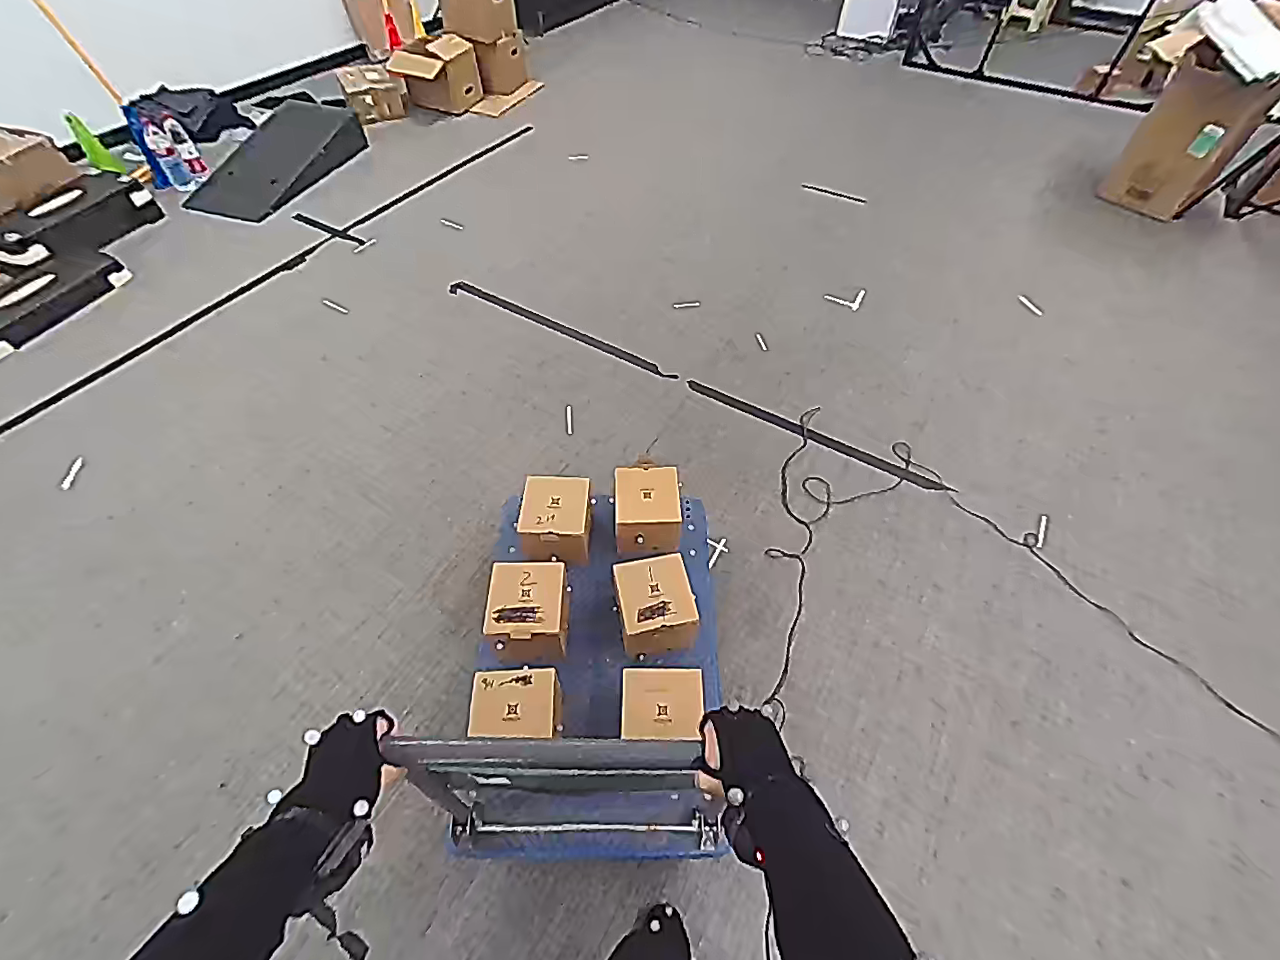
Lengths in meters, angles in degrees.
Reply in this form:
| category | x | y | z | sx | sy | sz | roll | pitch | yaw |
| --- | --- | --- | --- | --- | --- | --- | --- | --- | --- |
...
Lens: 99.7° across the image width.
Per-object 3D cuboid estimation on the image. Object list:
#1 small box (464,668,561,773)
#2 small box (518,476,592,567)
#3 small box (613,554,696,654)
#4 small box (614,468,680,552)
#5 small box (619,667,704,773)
| category | x | y | z | sx | sy | sz | roll | pitch | yaw |
| --- | --- | --- | --- | --- | --- | --- | --- | --- | --- |
| small box | -0.255 | 0.508 | 1.132 | 0.168 | 0.176 | 0.179 | -1 | 54 | -4 |
| small box | -0.217 | 0.110 | 1.431 | 0.168 | 0.176 | 0.179 | 3 | 54 | 0 |
| small box | 0.030 | 0.303 | 1.295 | 0.168 | 0.176 | 0.179 | -8 | 53 | -8 |
| small box | 0.016 | 0.086 | 1.459 | 0.168 | 0.176 | 0.179 | -1 | 53 | -3 |
| small box | 0.042 | 0.510 | 1.141 | 0.168 | 0.176 | 0.179 | 2 | 52 | -1 |
